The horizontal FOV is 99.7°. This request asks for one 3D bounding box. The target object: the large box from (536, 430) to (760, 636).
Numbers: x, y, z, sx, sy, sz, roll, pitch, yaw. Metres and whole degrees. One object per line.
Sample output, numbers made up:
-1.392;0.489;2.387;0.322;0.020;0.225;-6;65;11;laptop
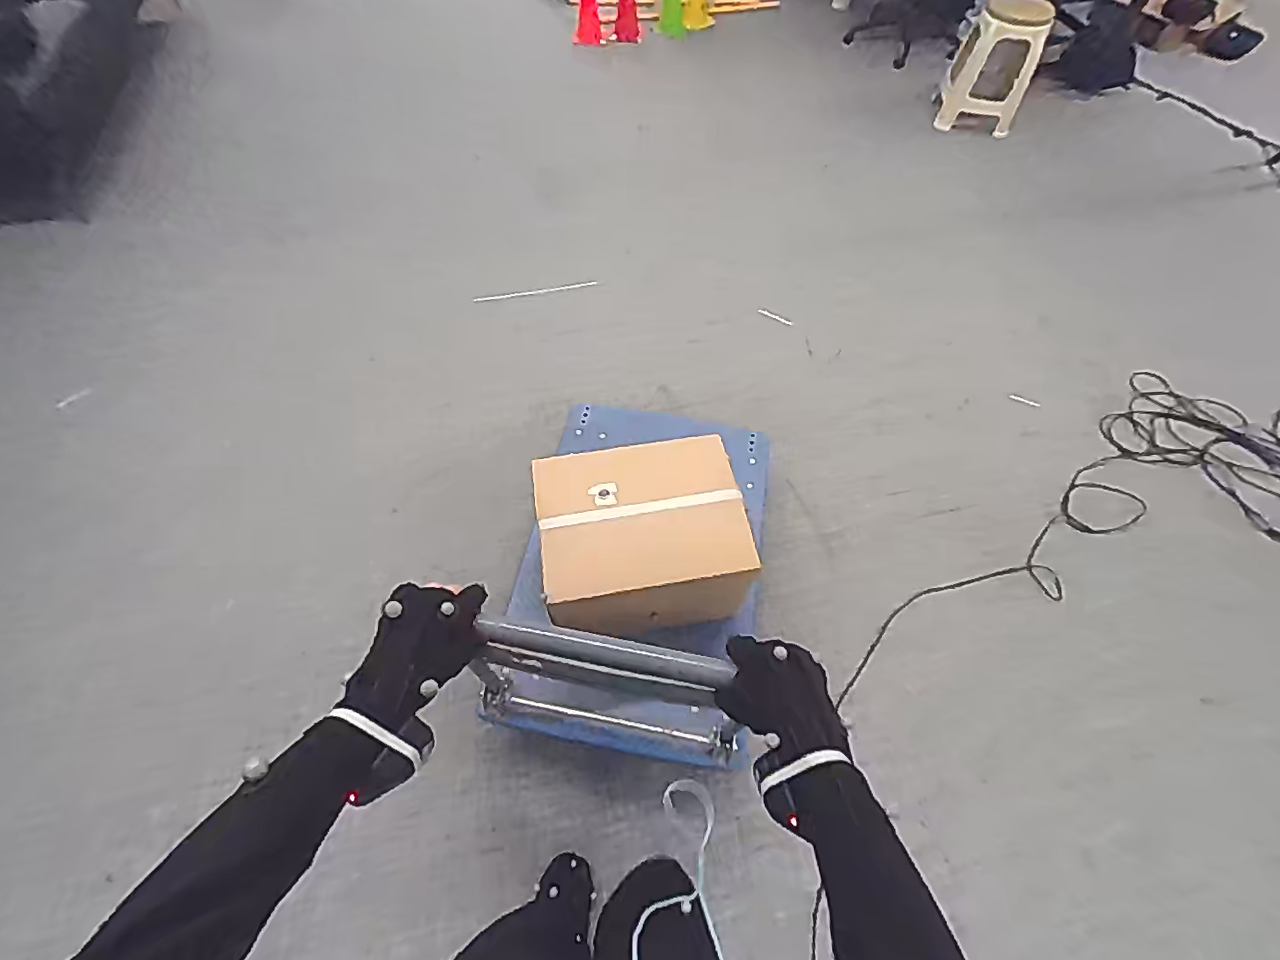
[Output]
0.007;0.128;1.198;0.408;0.320;0.320;-9;60;-5;large box
